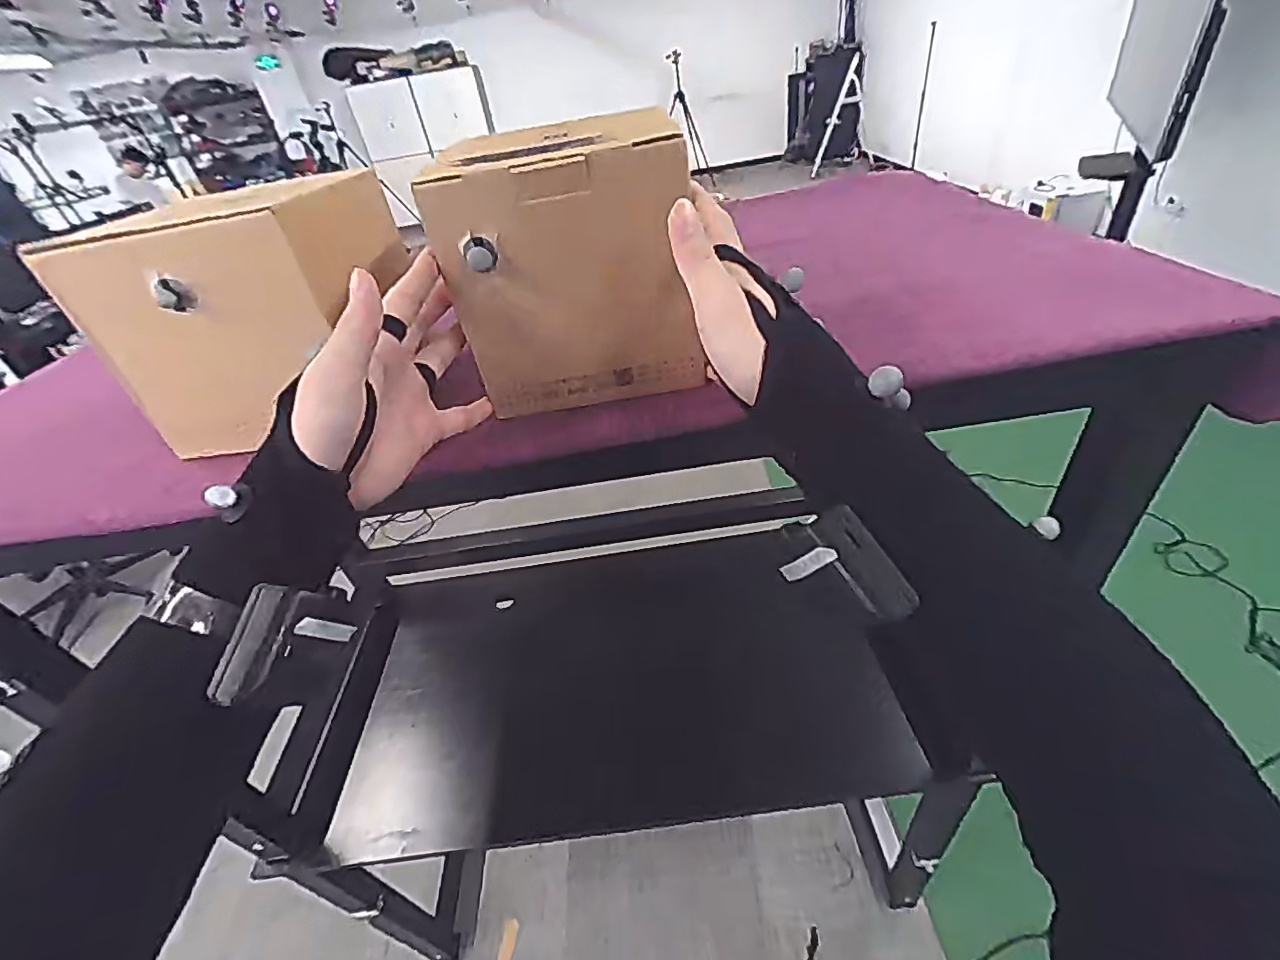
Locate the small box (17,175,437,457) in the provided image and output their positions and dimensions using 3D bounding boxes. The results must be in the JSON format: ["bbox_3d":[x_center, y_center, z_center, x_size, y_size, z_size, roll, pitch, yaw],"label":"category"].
[{"bbox_3d":[-0.299,-0.133,0.444,0.179,0.176,0.168,-7,37,4],"label":"small box"}]
